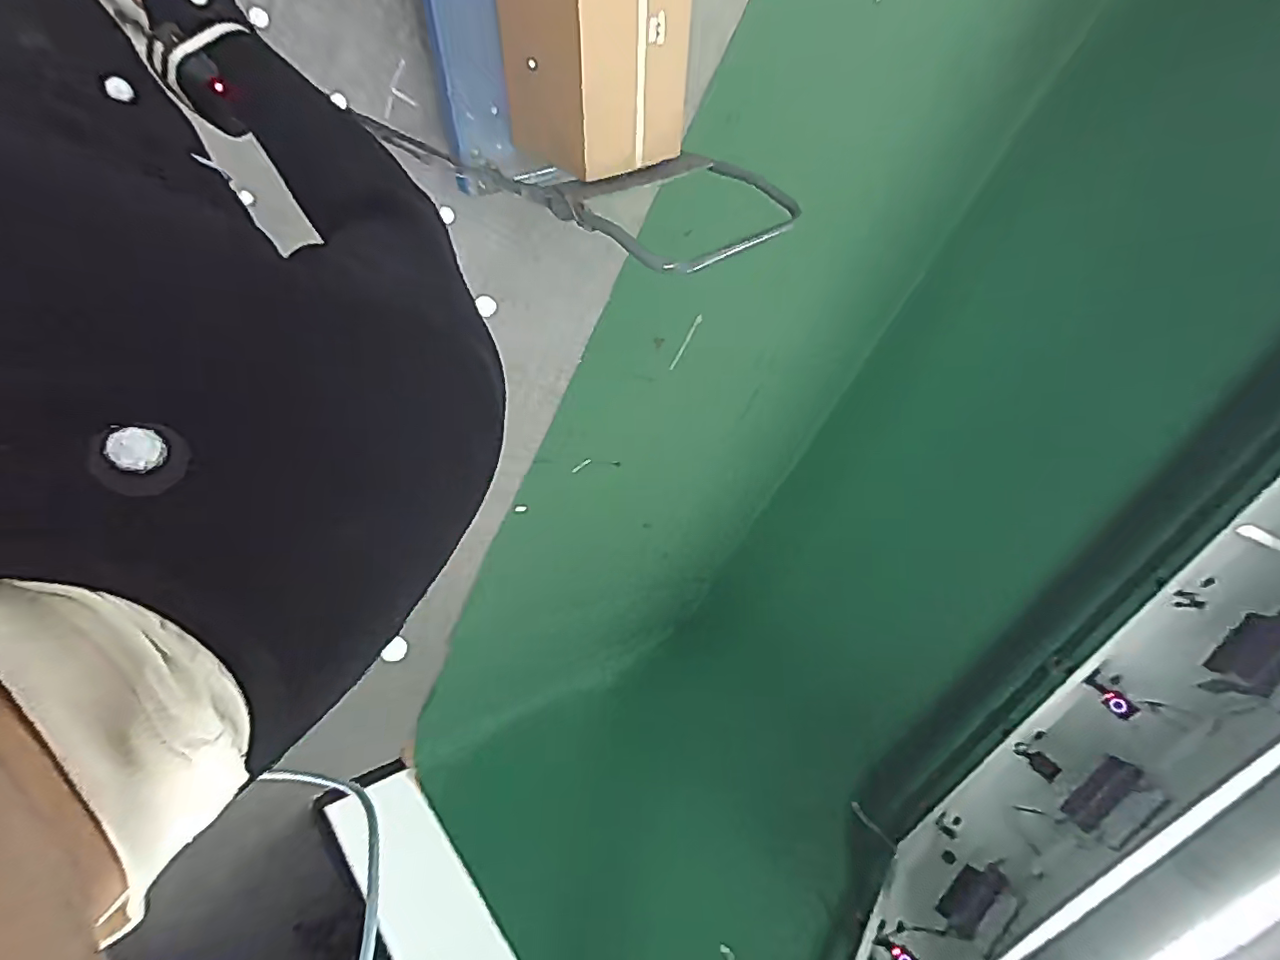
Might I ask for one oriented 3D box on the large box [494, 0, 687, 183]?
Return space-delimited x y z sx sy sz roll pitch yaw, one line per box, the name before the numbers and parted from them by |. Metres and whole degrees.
large box | -0.112 -0.976 1.251 0.320 0.320 0.408 -33 146 -28
